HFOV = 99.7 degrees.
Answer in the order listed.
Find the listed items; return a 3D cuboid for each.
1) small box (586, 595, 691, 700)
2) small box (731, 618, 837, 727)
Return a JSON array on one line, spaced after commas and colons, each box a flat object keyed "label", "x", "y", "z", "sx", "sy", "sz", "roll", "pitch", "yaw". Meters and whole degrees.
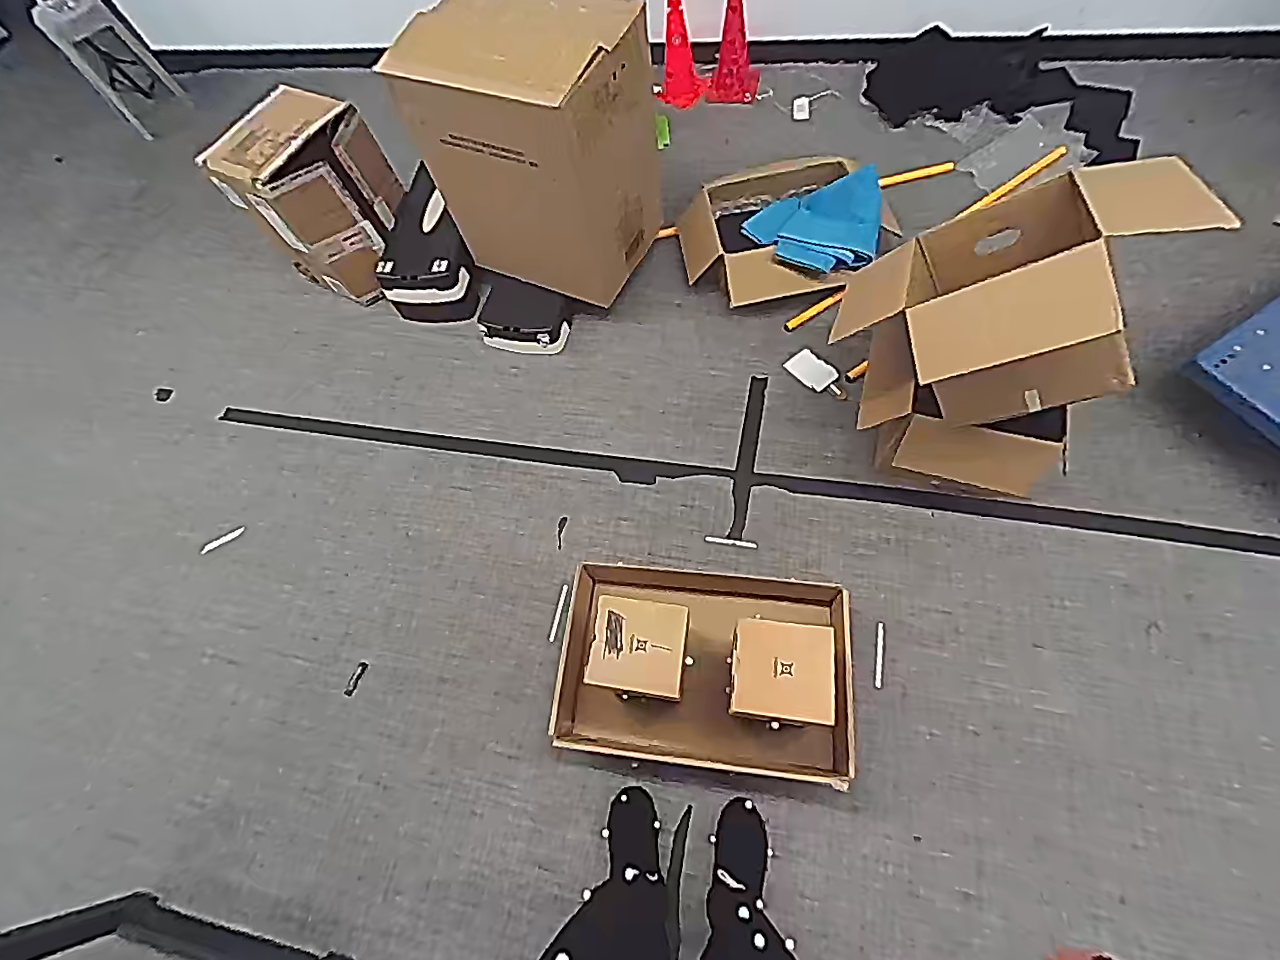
[{"label": "small box", "x": 0.006, "y": 0.339, "z": 1.078, "sx": 0.179, "sy": 0.176, "sz": 0.168, "roll": 6, "pitch": 67, "yaw": 8}, {"label": "small box", "x": 0.269, "y": 0.369, "z": 1.032, "sx": 0.179, "sy": 0.176, "sz": 0.168, "roll": 4, "pitch": 66, "yaw": 11}]
